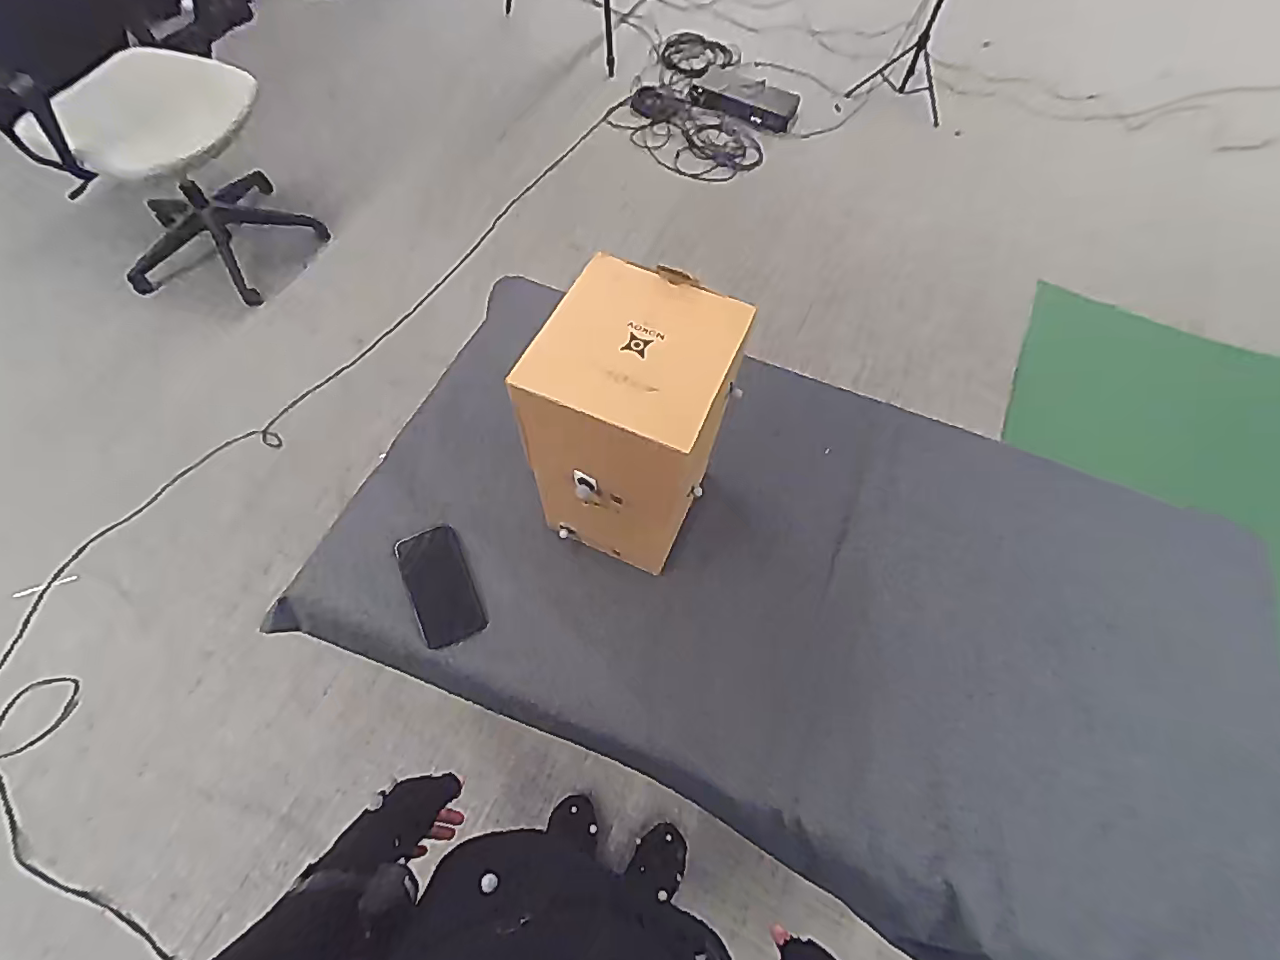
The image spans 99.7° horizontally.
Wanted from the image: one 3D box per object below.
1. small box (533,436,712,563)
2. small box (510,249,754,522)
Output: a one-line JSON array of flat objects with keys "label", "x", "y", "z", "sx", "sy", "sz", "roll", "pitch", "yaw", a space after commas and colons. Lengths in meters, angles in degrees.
[{"label": "small box", "x": -0.013, "y": -0.018, "z": 0.688, "sx": 0.168, "sy": 0.176, "sz": 0.179, "roll": 23, "pitch": 63, "yaw": 8}, {"label": "small box", "x": -0.006, "y": -0.087, "z": 0.541, "sx": 0.168, "sy": 0.176, "sz": 0.179, "roll": 22, "pitch": 65, "yaw": 9}]
